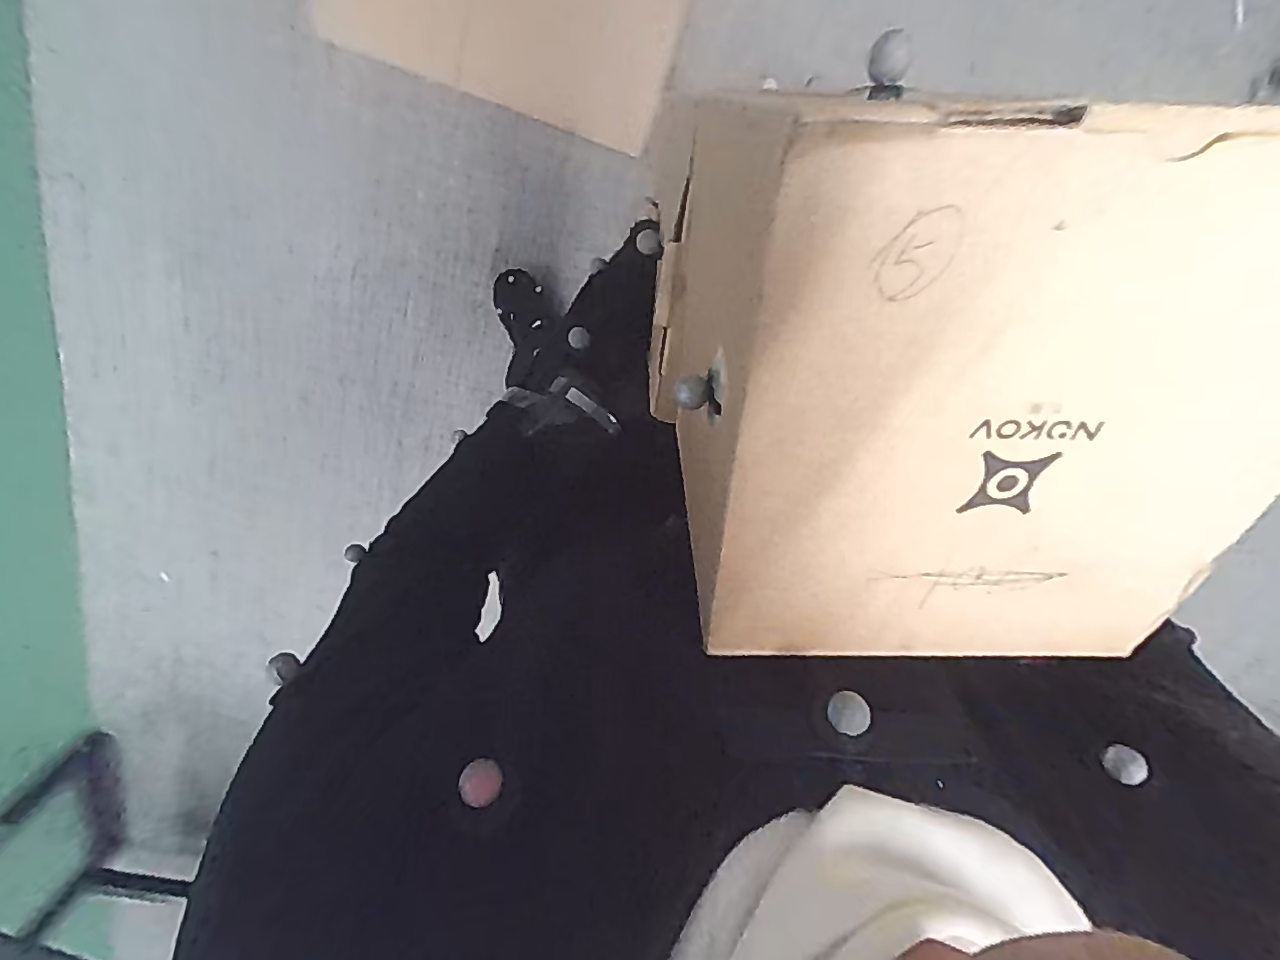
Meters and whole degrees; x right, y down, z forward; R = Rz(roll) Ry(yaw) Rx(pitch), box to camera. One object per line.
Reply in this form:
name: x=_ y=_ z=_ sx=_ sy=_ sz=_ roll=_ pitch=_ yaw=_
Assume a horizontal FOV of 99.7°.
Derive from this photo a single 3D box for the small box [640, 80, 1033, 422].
small box: x=0.090 y=-0.152 z=0.356 sx=0.179 sy=0.176 sz=0.168 roll=2 pitch=125 yaw=-2
